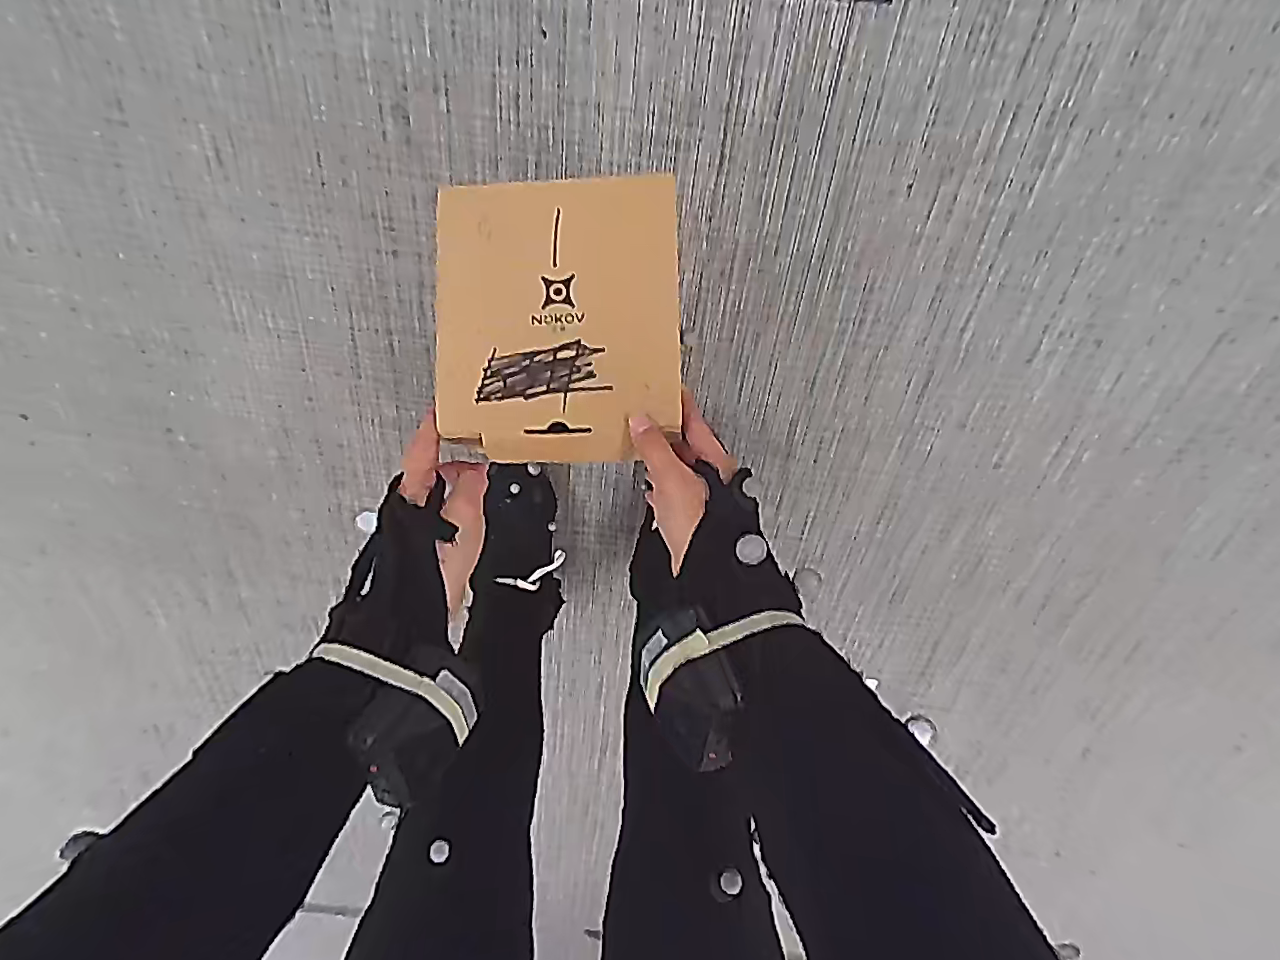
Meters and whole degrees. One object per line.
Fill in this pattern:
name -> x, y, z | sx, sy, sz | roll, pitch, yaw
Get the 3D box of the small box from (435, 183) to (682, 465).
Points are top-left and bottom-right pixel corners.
small box -> -0.050, -0.104, 0.437 | 0.168, 0.176, 0.179 | -1, 85, 3
